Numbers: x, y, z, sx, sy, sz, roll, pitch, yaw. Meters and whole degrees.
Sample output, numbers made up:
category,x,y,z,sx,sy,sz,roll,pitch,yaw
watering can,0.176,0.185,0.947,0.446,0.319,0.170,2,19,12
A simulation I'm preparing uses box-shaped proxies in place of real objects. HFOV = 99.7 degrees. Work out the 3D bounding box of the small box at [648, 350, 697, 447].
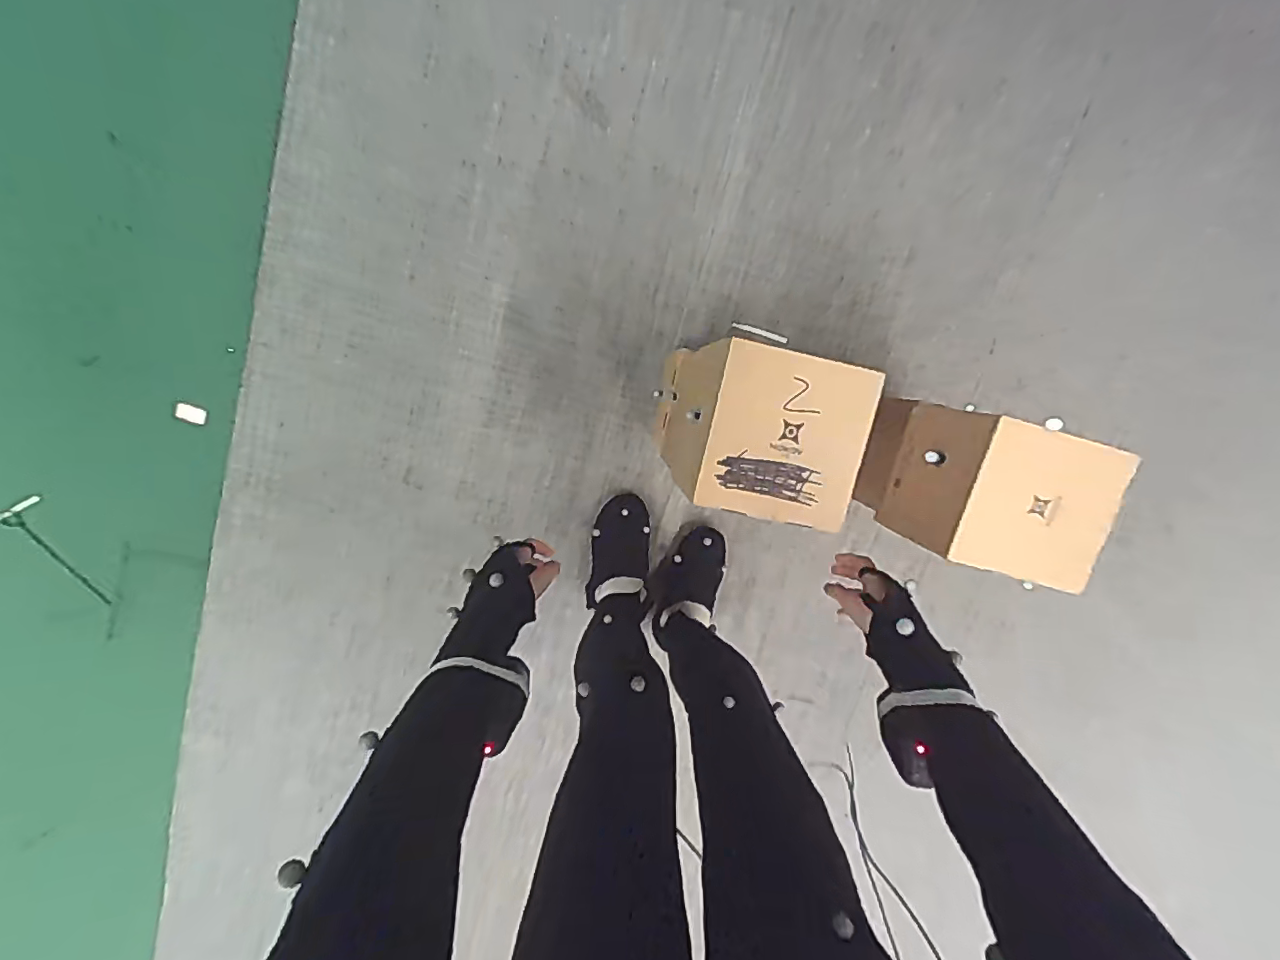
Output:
category,x,y,z,sx,sy,sz,roll,pitch,yaw
small box,0.120,-0.131,0.963,0.179,0.176,0.168,11,100,-6

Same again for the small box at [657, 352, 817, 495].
category,x,y,z,sx,sy,sz,roll,pitch,yaw
small box,0.132,-0.089,0.806,0.179,0.176,0.168,12,100,-5

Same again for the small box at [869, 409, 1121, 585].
category,x,y,z,sx,sy,sz,roll,pitch,yaw
small box,0.423,0.010,0.678,0.179,0.176,0.168,14,99,-8
